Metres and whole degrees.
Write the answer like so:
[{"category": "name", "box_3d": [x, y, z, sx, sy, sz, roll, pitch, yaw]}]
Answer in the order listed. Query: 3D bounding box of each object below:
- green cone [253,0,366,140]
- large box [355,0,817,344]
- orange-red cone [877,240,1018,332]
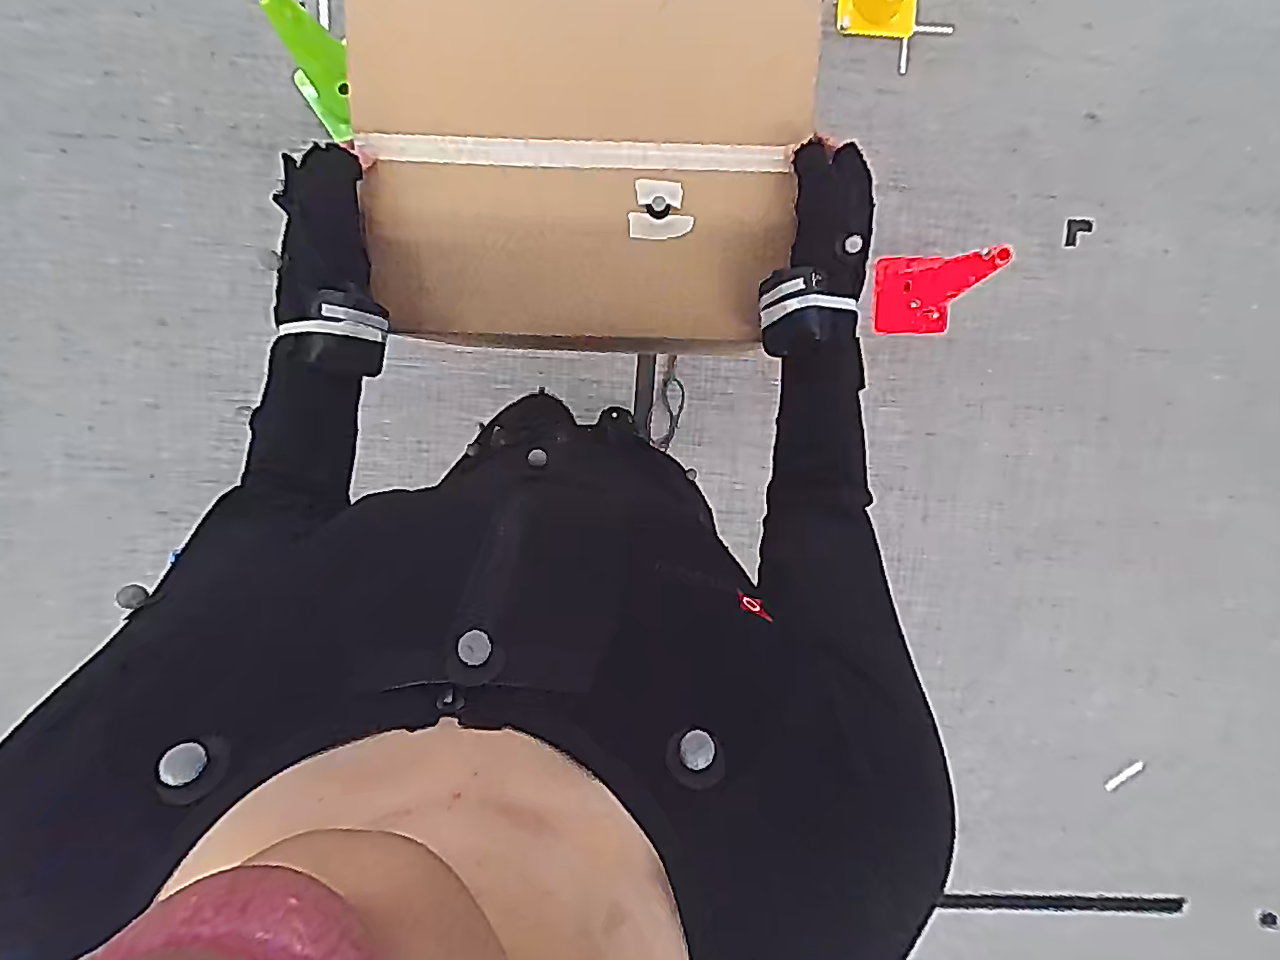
[{"category": "green cone", "box_3d": [-0.724, -0.963, 1.173, 0.202, 0.368, 0.200, -34, 95, 4]}, {"category": "large box", "box_3d": [-0.052, -0.328, 0.630, 0.408, 0.320, 0.320, 1, 101, -2]}, {"category": "orange-red cone", "box_3d": [0.734, -0.483, 1.260, 0.198, 0.360, 0.199, 1, 94, -2]}]
